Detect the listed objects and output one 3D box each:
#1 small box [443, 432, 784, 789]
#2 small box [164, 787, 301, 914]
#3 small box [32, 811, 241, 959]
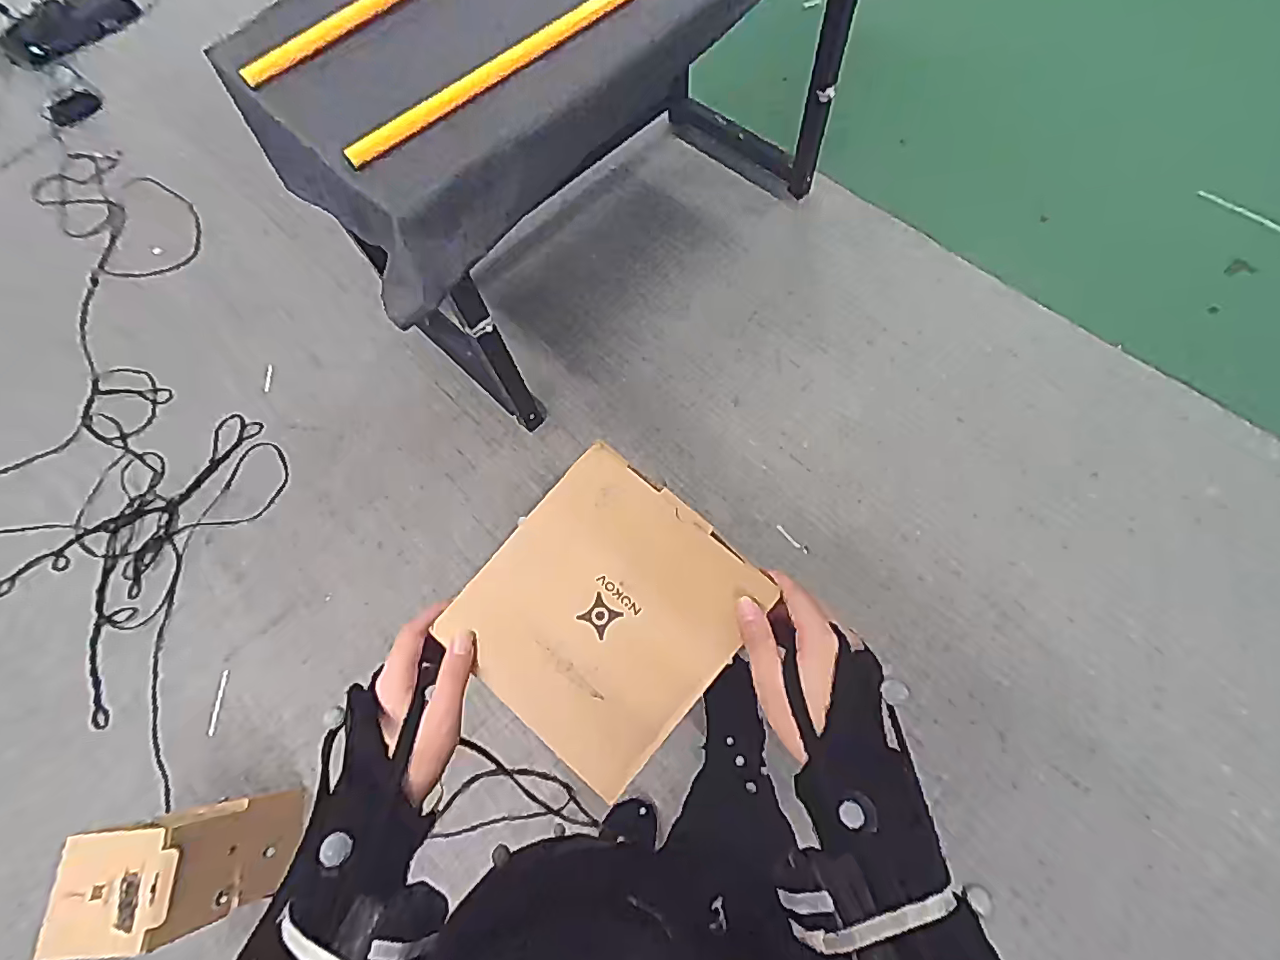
[{"bbox_3d":[-0.014,0.094,0.437,0.168,0.176,0.179,38,84,11],"label":"small box"},{"bbox_3d":[-0.799,0.724,1.060,0.168,0.176,0.179,-10,67,0],"label":"small box"},{"bbox_3d":[-0.821,0.667,0.906,0.179,0.176,0.168,-6,67,3],"label":"small box"}]
